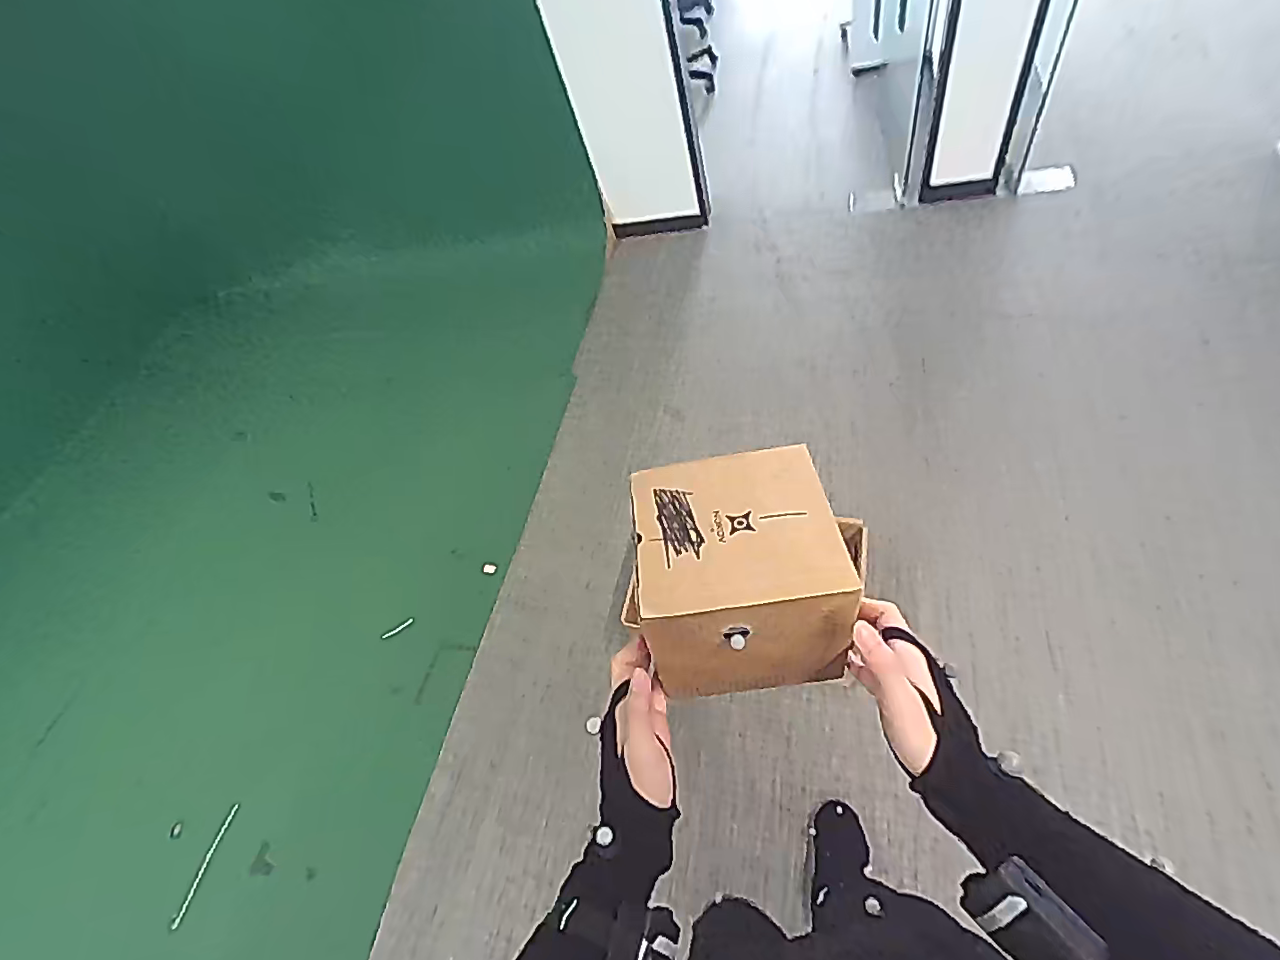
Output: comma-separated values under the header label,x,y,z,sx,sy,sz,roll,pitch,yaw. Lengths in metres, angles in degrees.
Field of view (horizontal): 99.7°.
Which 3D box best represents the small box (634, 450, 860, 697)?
label,x,y,z,sx,sy,sz,roll,pitch,yaw
small box,0.097,0.097,0.533,0.179,0.176,0.168,-9,45,5
